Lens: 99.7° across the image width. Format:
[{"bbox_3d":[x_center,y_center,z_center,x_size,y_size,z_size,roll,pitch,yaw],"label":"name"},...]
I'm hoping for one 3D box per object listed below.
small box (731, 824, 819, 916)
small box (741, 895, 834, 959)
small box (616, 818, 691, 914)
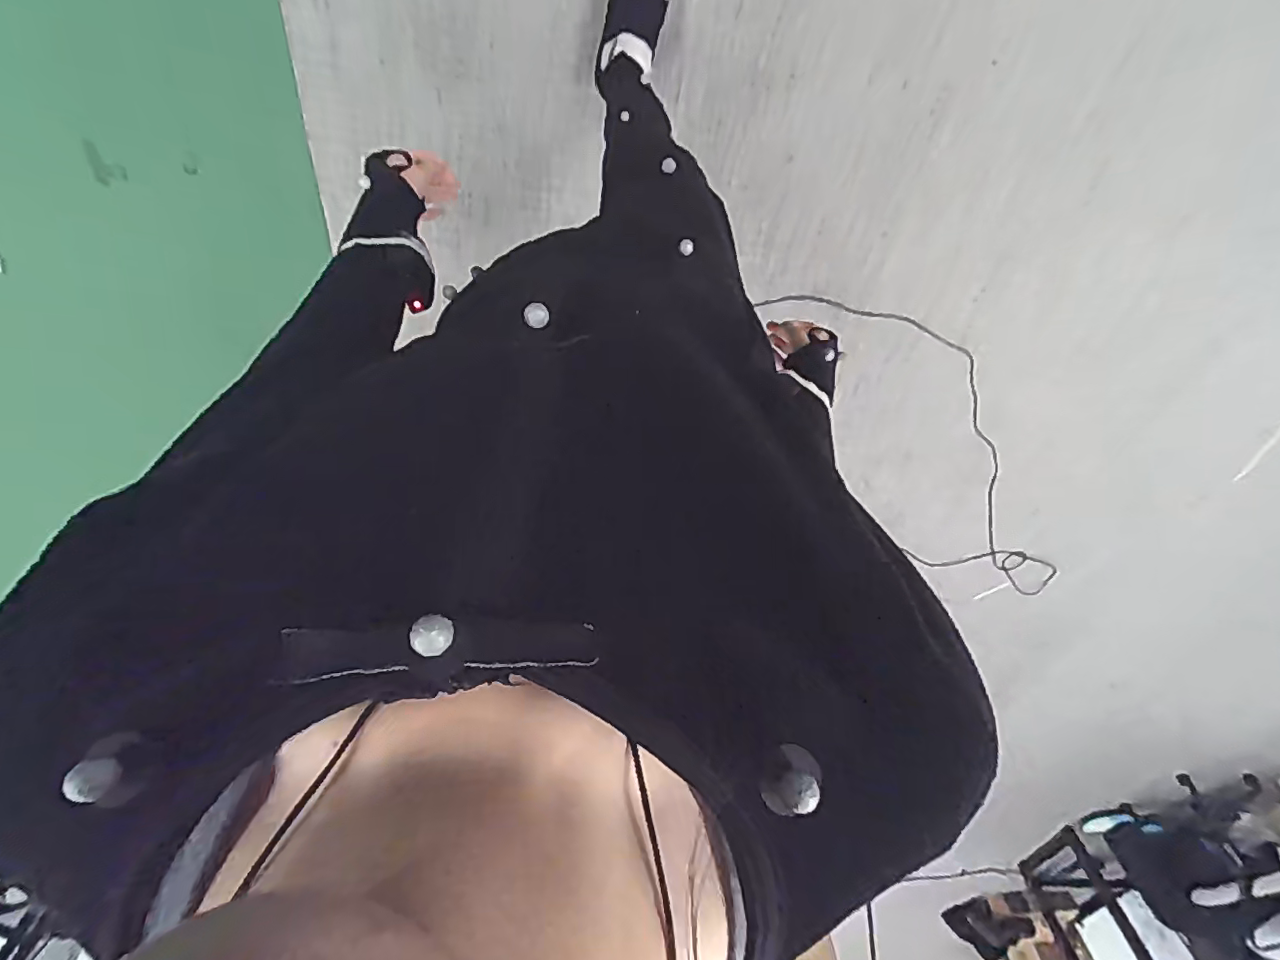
[{"bbox_3d":[0.359,1.067,1.481,0.179,0.176,0.168,6,126,-7],"label":"small box"},{"bbox_3d":[0.368,1.162,1.347,0.179,0.176,0.168,7,125,-7],"label":"small box"},{"bbox_3d":[0.029,1.027,1.443,0.168,0.176,0.179,8,126,-7],"label":"small box"}]
